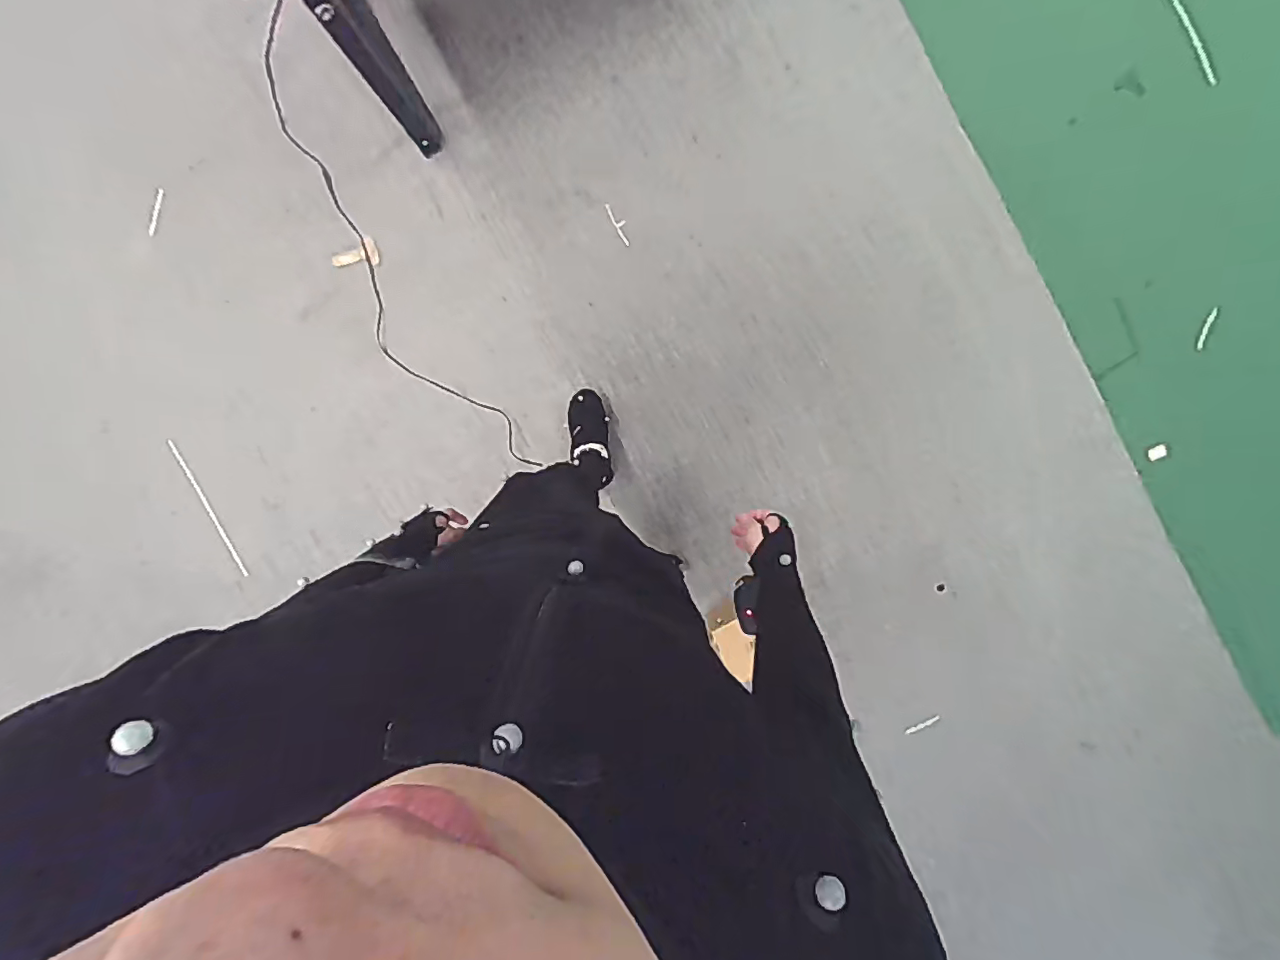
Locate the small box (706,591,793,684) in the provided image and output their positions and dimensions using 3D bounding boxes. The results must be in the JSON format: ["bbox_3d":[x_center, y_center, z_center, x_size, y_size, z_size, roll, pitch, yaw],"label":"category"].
[{"bbox_3d":[0.304,0.440,1.541,0.179,0.176,0.168,-29,92,5],"label":"small box"}]
